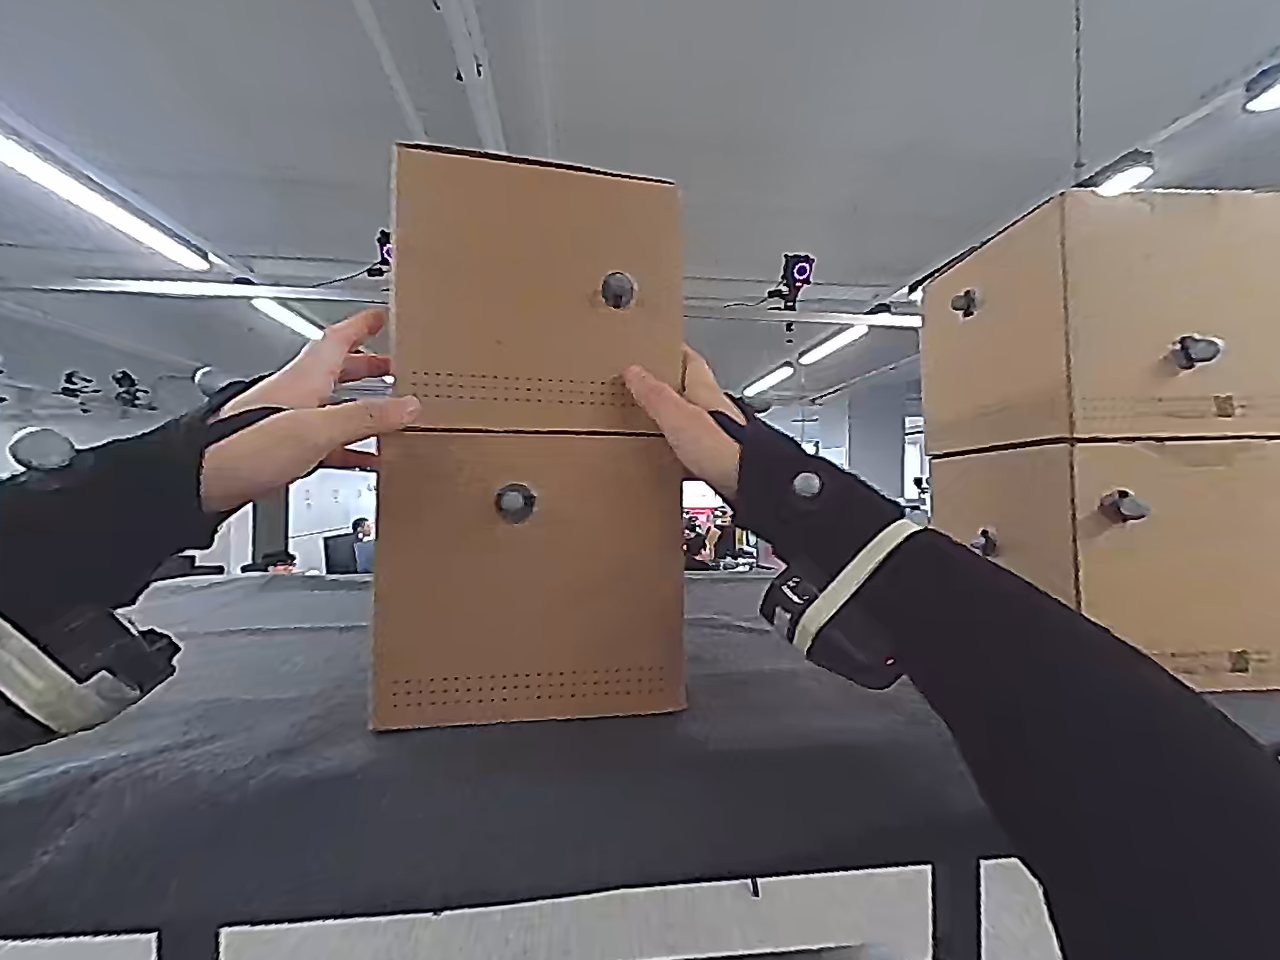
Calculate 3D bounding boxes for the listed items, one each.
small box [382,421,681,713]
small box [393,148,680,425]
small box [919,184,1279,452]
[{"bbox_3d":[-0.071,0.055,0.390,0.179,0.176,0.168,1,-2,-9],"label":"small box"},{"bbox_3d":[-0.076,-0.106,0.405,0.179,0.176,0.168,-1,-3,-14],"label":"small box"},{"bbox_3d":[0.355,-0.113,0.445,0.168,0.176,0.179,-2,-1,-2],"label":"small box"}]
